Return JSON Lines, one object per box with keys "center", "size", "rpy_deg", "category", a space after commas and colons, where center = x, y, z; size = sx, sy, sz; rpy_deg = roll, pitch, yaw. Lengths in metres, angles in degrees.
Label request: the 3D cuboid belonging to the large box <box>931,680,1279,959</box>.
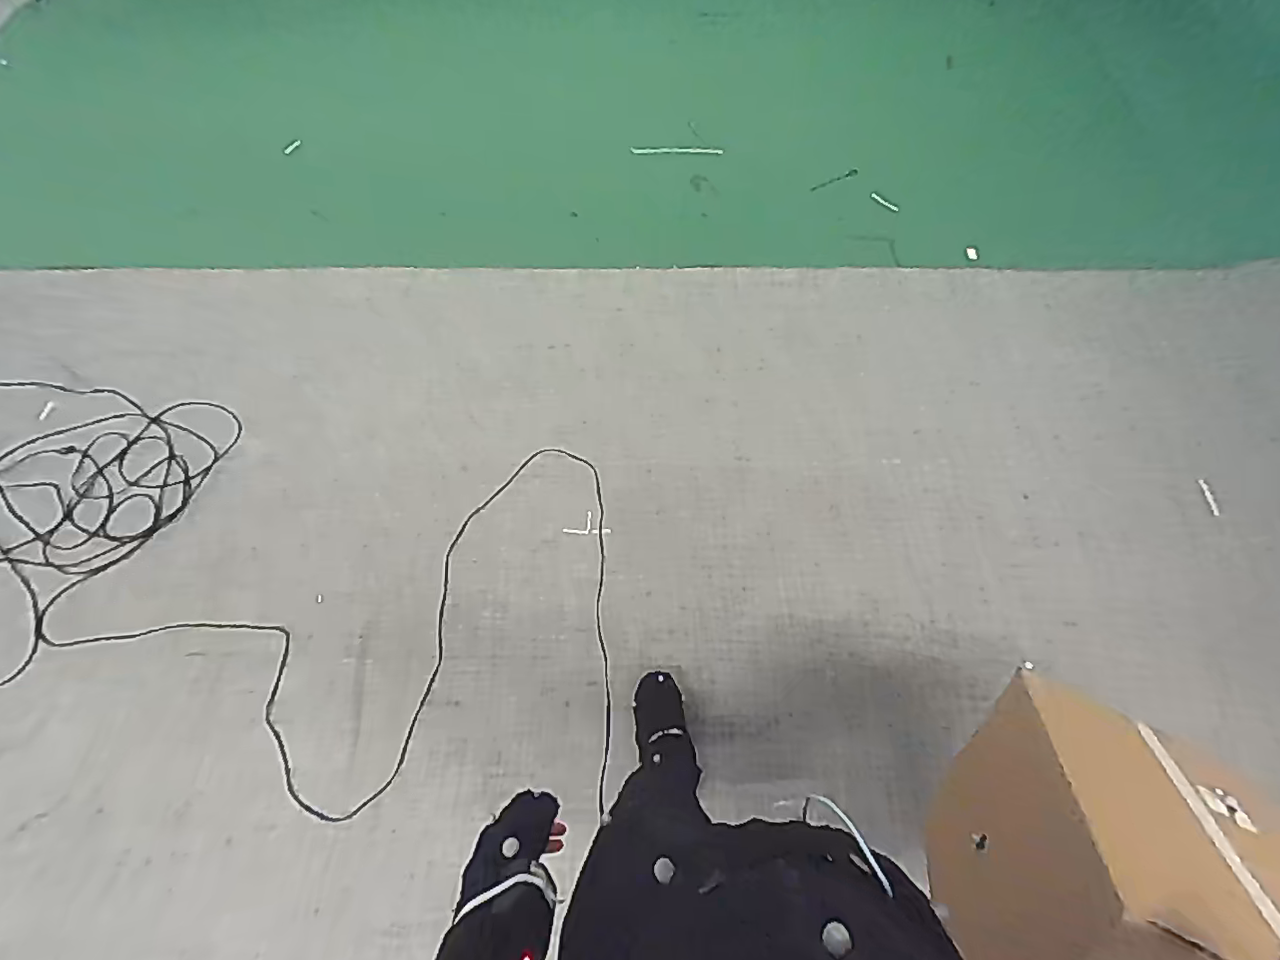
{"center": [0.594, 0.540, 0.656], "size": [0.320, 0.408, 0.320], "rpy_deg": [25, 111, 16], "category": "large box"}
